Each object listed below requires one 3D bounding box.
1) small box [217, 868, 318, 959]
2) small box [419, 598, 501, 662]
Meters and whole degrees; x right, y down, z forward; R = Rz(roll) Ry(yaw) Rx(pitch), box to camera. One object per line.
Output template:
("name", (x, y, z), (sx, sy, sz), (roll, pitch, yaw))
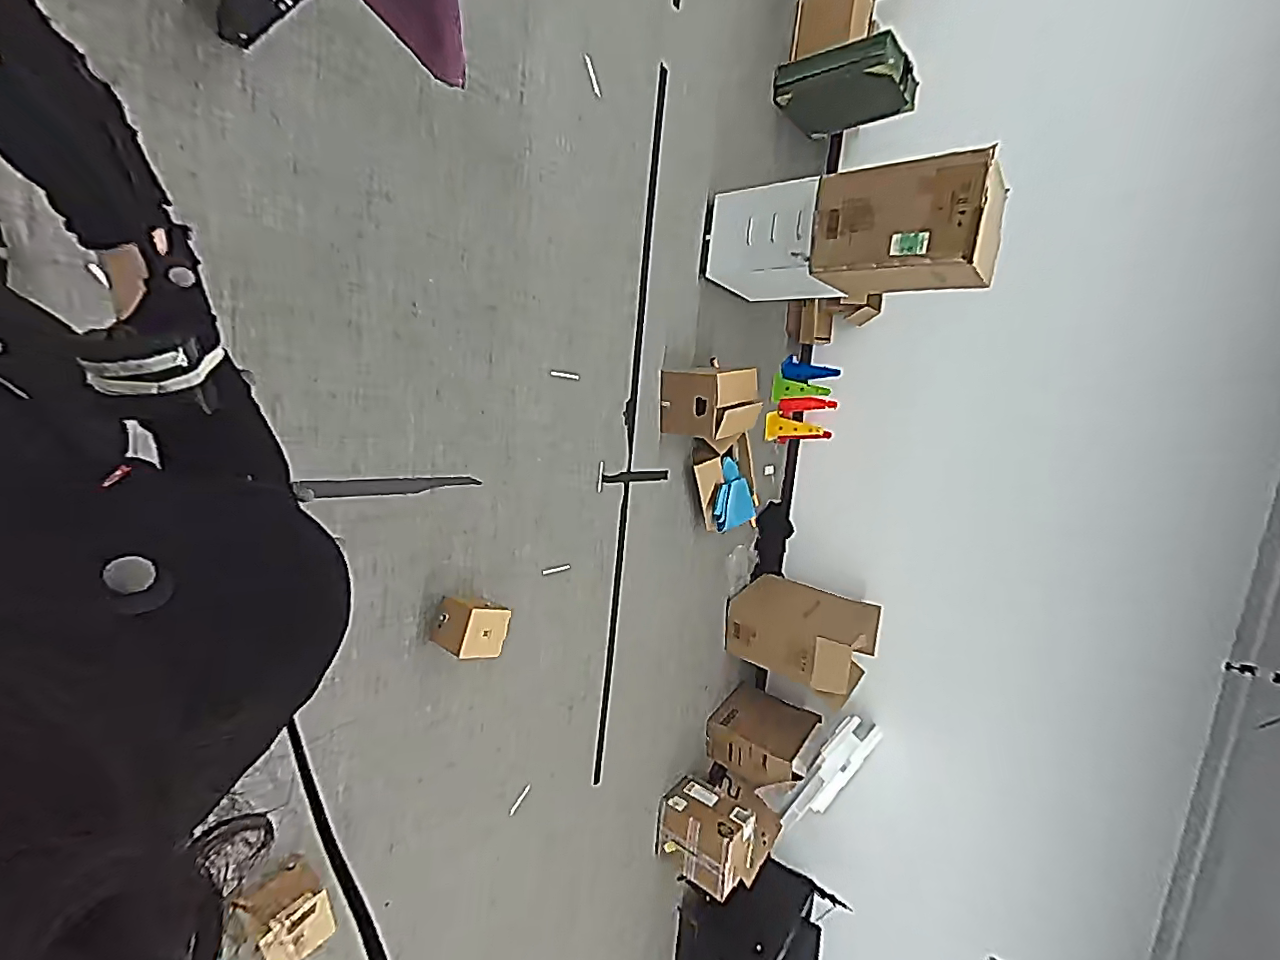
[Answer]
("small box", (-1.018, 1.214, 1.478), (0.168, 0.176, 0.179), (-22, 118, -50))
("small box", (-0.611, 0.506, 1.836), (0.179, 0.176, 0.168), (23, 80, -53))
